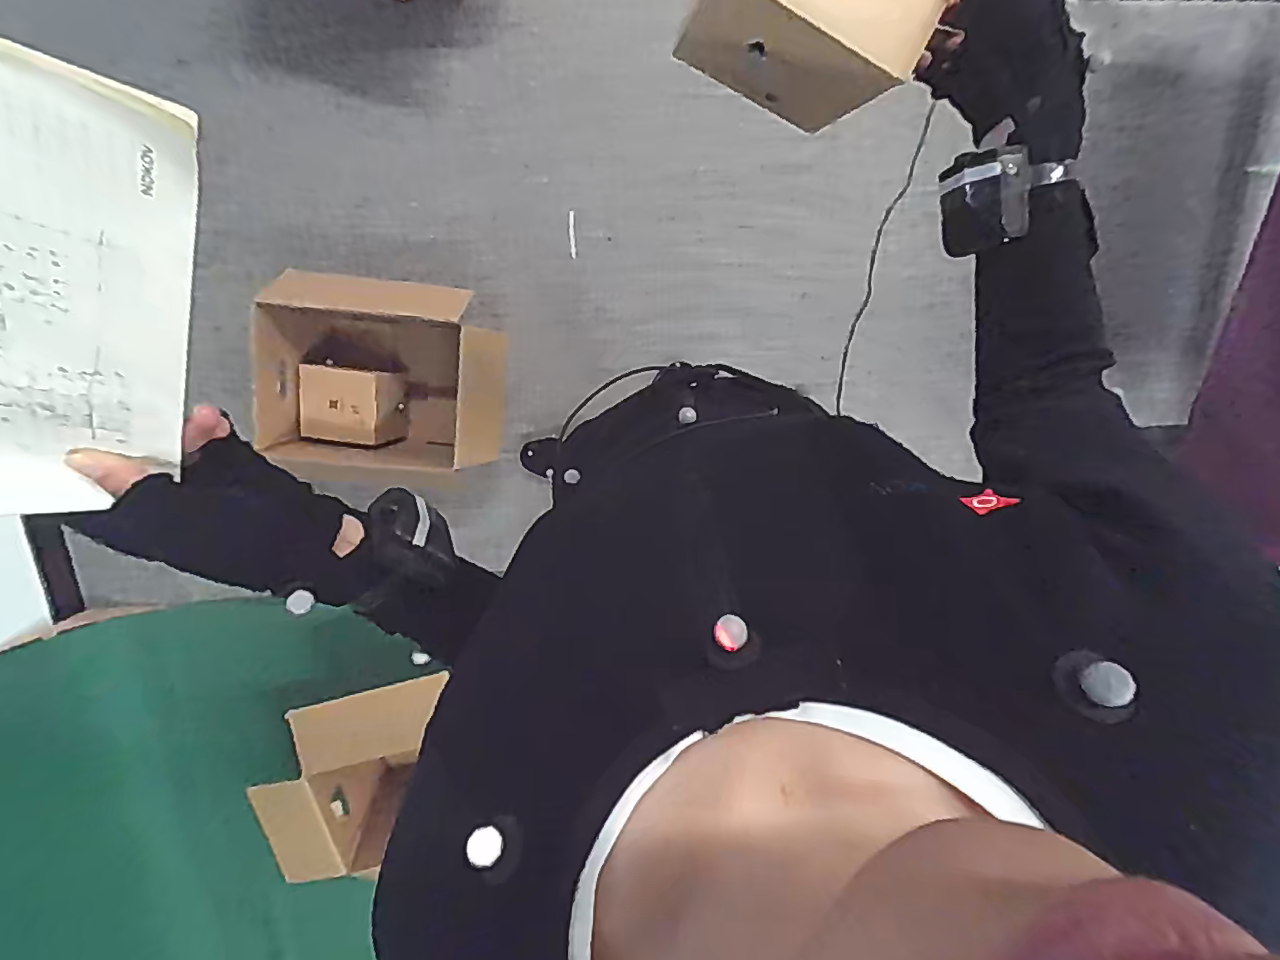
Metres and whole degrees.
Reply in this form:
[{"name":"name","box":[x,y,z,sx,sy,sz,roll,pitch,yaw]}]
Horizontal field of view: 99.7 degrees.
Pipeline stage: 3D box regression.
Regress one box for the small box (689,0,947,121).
[{"name":"small box","box":[0.152,-0.433,0.437,0.168,0.176,0.179,19,105,-15]}]
